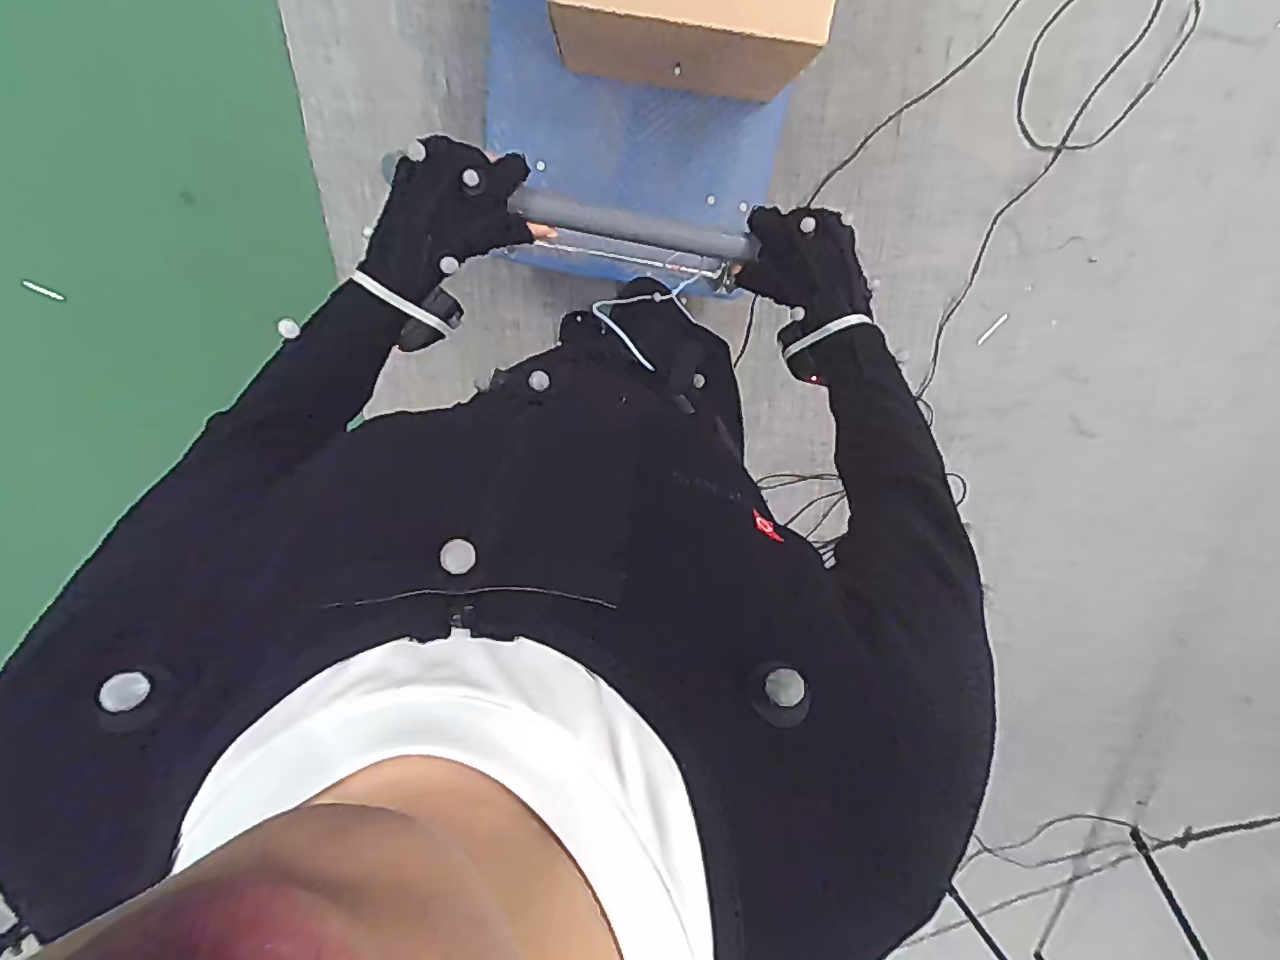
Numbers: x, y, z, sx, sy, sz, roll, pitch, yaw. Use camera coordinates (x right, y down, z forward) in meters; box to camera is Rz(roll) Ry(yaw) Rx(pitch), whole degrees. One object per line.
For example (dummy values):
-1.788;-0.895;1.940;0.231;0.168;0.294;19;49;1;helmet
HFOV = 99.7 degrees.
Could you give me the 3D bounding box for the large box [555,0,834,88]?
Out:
0.089;-0.858;0.854;0.408;0.320;0.320;5;113;-4;large box
